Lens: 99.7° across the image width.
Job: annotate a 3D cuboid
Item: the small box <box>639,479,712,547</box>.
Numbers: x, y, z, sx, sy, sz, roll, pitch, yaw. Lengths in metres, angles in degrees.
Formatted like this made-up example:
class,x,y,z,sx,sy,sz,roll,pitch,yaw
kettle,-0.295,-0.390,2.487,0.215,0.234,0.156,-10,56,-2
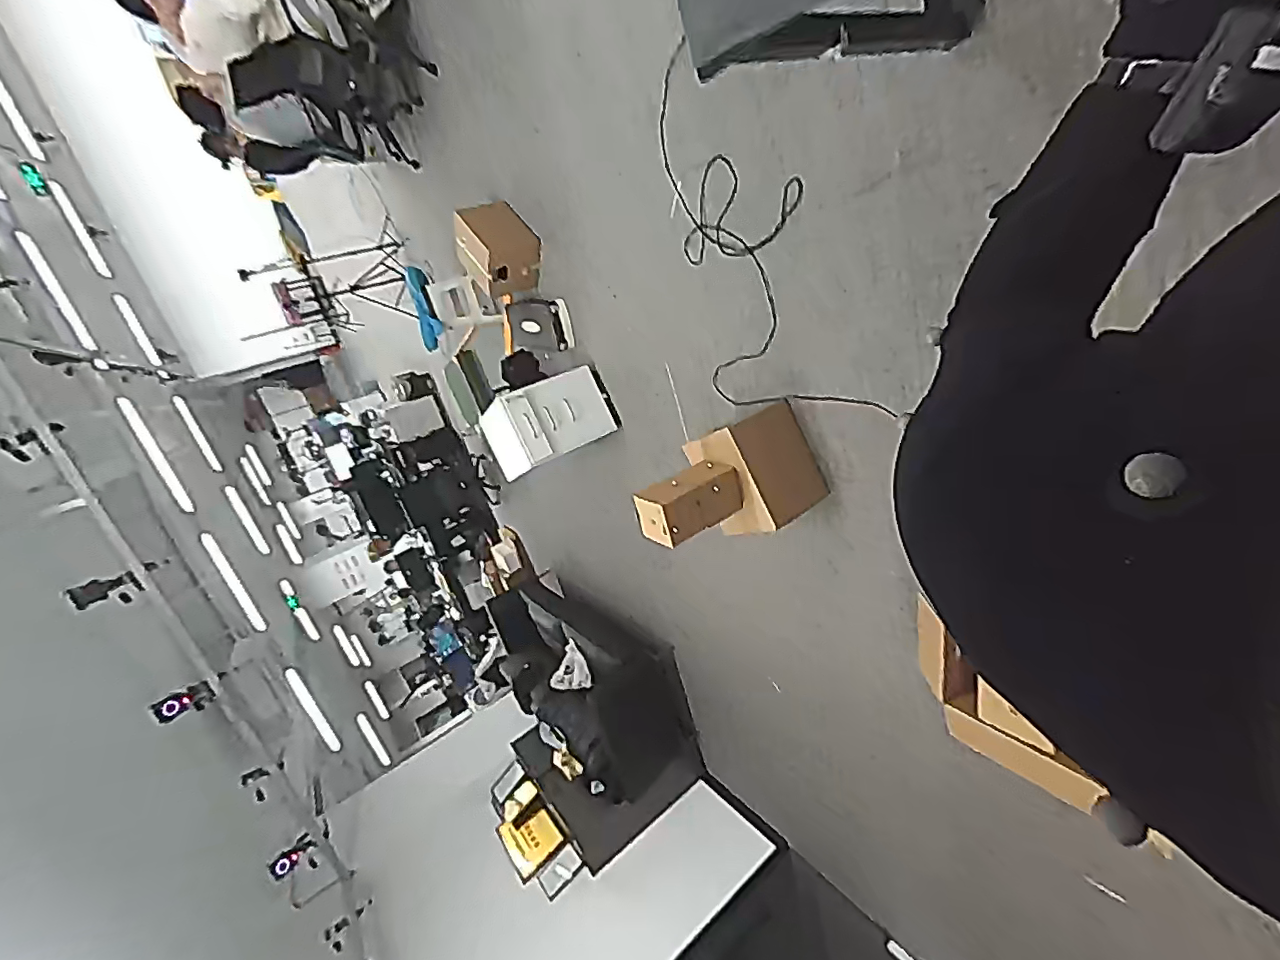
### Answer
class,x,y,z,sx,sy,sz,roll,pitch,yaw
small box,0.128,0.108,1.902,0.179,0.176,0.168,18,130,55
